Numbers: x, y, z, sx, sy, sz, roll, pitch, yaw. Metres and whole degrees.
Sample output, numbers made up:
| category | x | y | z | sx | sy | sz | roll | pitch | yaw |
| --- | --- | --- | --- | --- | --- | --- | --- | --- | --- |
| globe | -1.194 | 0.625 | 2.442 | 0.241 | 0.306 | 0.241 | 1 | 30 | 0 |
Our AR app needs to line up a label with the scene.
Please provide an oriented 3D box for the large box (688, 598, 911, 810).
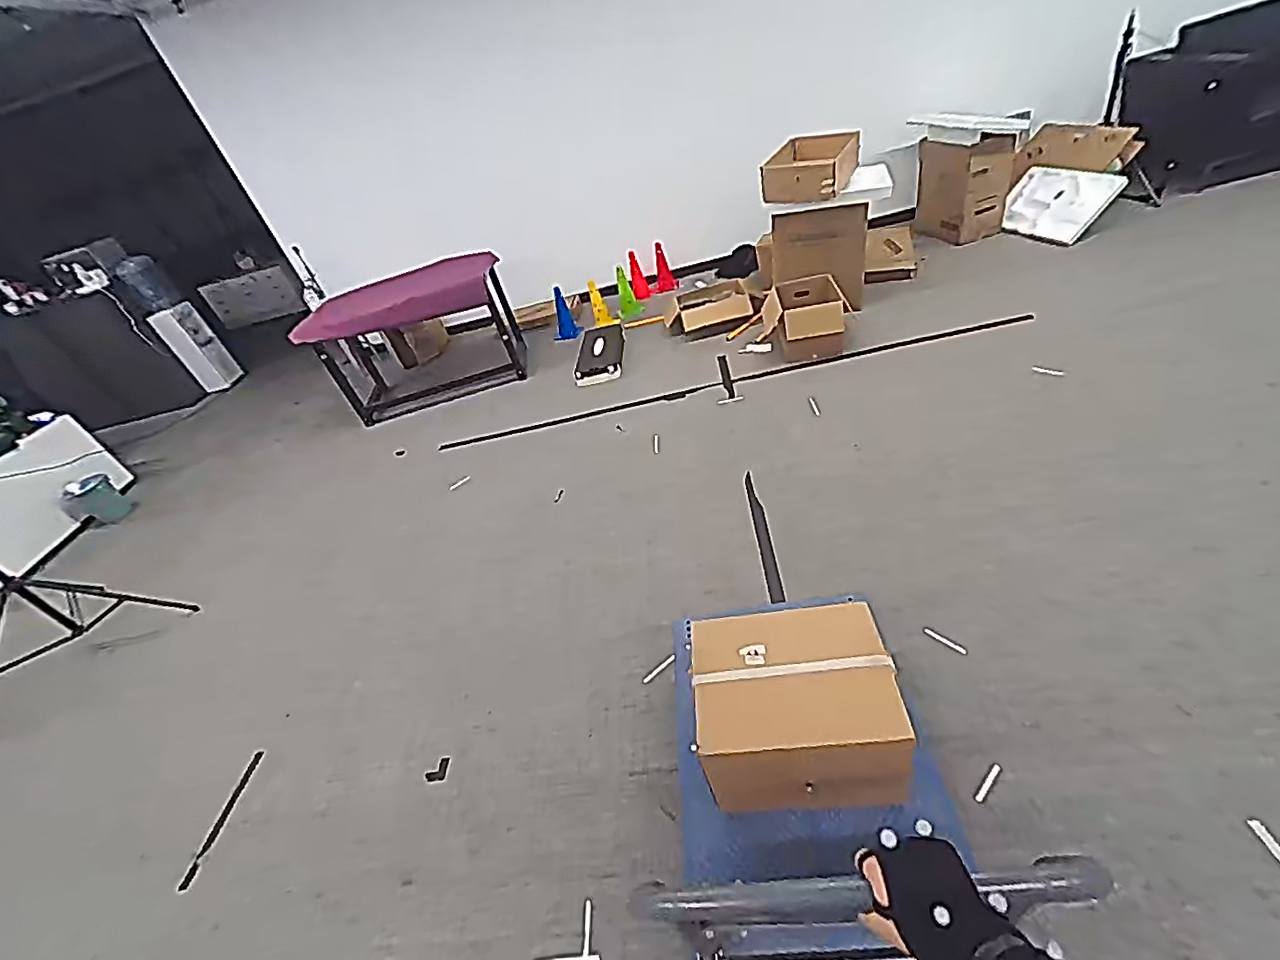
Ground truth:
| category | x | y | z | sx | sy | sz | roll | pitch | yaw |
| --- | --- | --- | --- | --- | --- | --- | --- | --- | --- |
| large box | 0.342 | 0.508 | 1.214 | 0.408 | 0.320 | 0.320 | -11 | 37 | 11 |
